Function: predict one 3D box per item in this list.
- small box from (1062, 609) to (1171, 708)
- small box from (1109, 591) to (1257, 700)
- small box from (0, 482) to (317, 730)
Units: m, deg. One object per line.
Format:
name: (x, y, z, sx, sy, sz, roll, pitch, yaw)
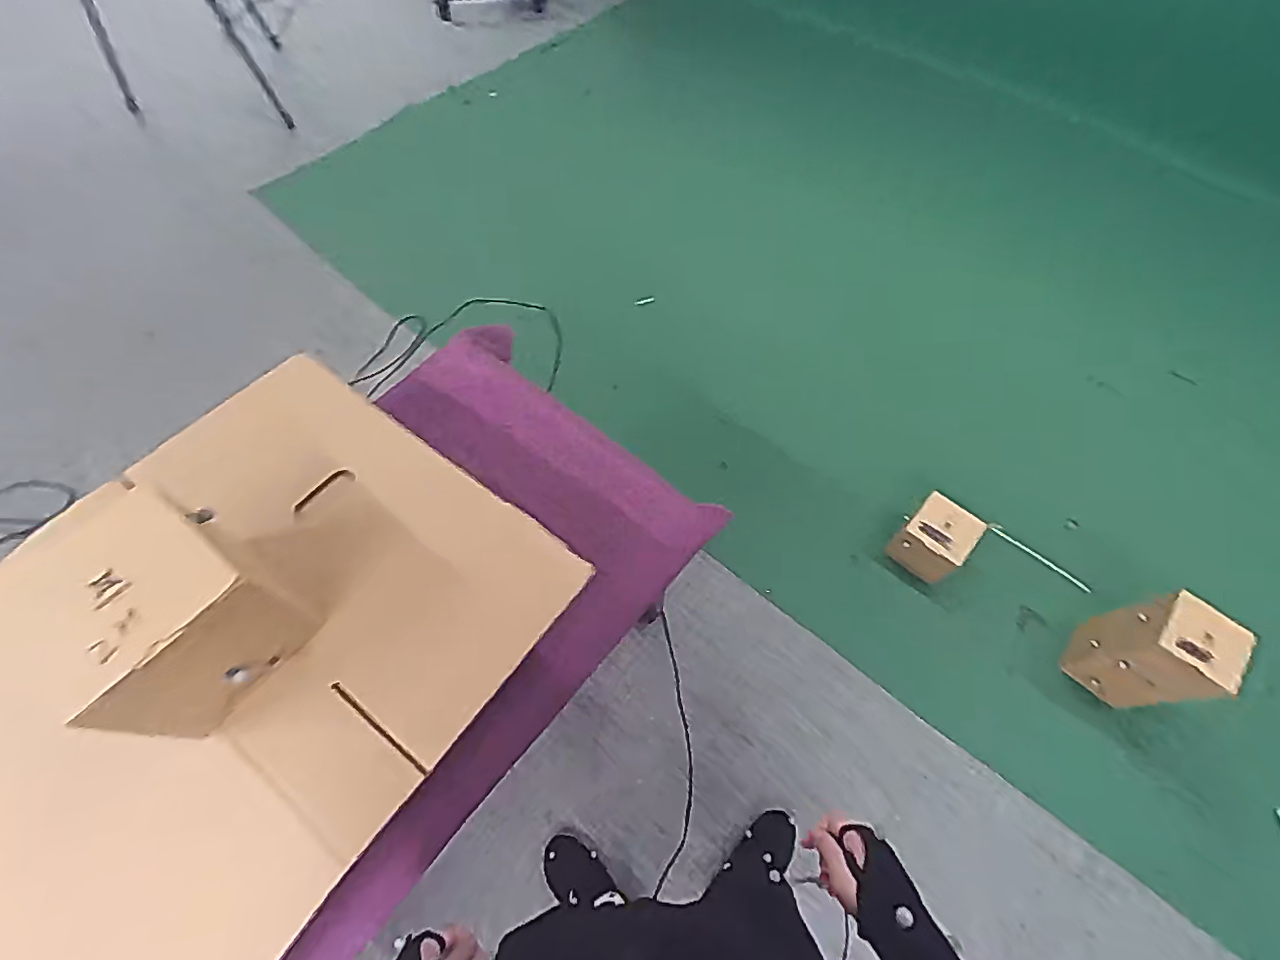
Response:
small box: (1.286, 0.480, 1.444, 0.168, 0.176, 0.179, 39, 68, 17)
small box: (1.289, 0.404, 1.298, 0.168, 0.176, 0.179, 40, 68, 17)
small box: (-0.495, 0.141, 0.572, 0.179, 0.176, 0.168, 35, 65, 16)
